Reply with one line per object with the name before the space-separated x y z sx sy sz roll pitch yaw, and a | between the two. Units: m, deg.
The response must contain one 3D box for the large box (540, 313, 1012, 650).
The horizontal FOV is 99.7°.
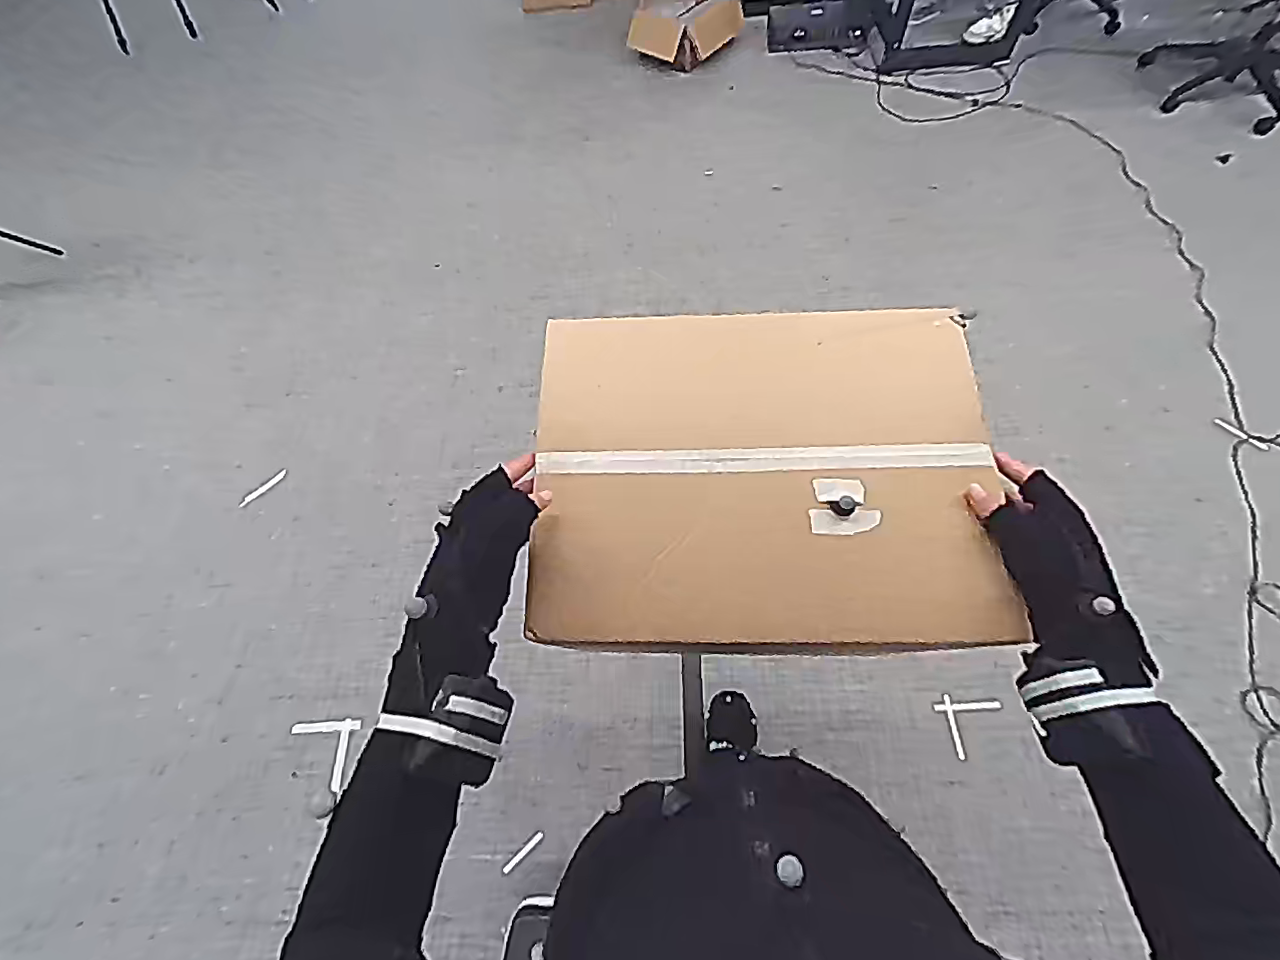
large box | 0.114 0.030 0.641 0.408 0.320 0.320 -1 71 2
